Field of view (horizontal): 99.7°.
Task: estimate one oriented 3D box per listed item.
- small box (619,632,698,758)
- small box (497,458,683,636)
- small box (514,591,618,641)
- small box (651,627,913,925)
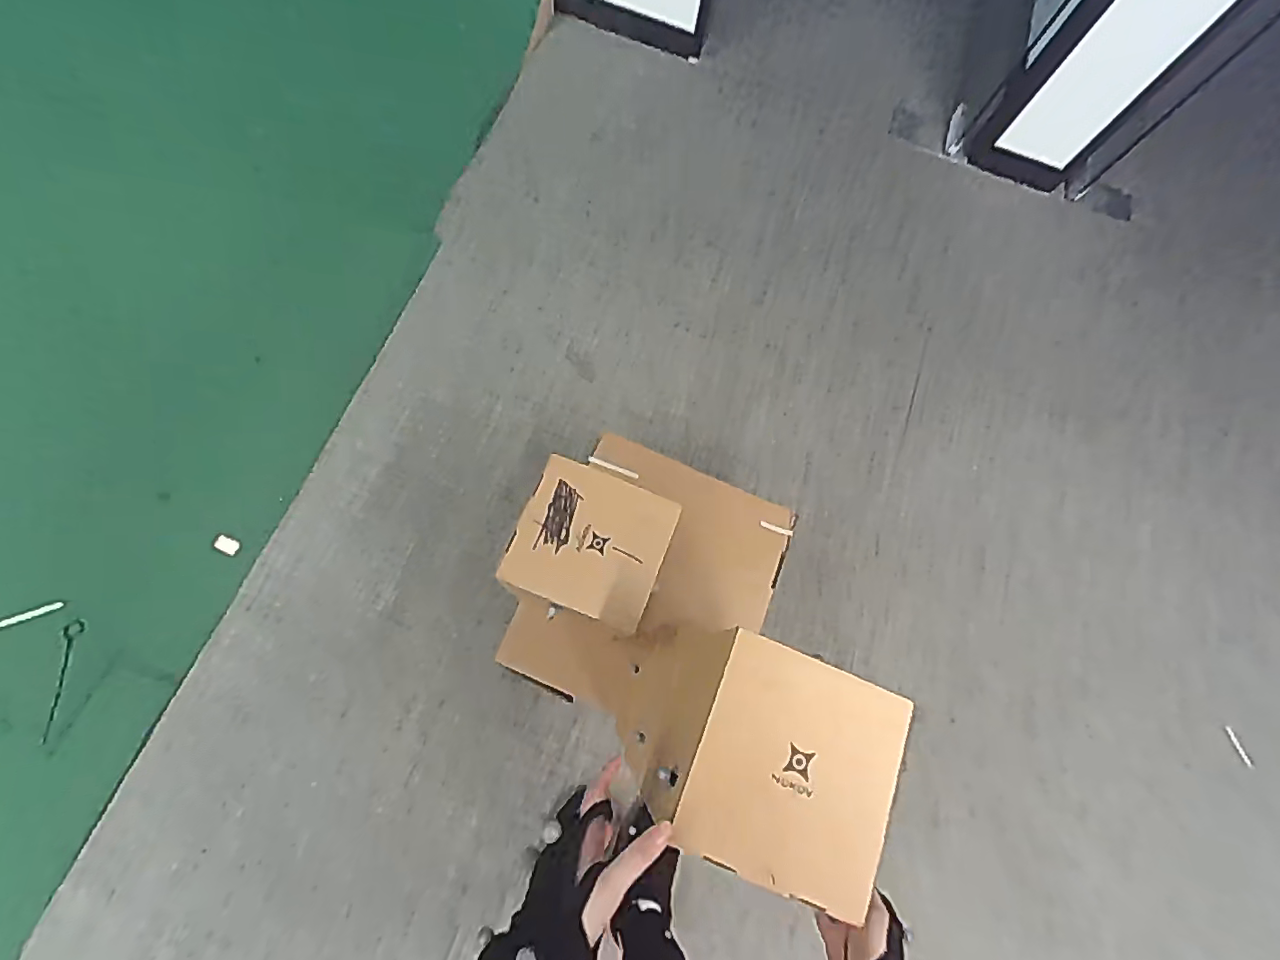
[{"bbox_3d":[0.079,0.340,0.825,0.179,0.176,0.168,21,71,0],"label":"small box"},{"bbox_3d":[-0.062,0.098,0.708,0.179,0.176,0.168,21,71,1],"label":"small box"},{"bbox_3d":[-0.085,0.144,0.867,0.168,0.176,0.179,22,70,1],"label":"small box"},{"bbox_3d":[0.120,0.255,0.512,0.168,0.176,0.179,23,72,0],"label":"small box"}]
